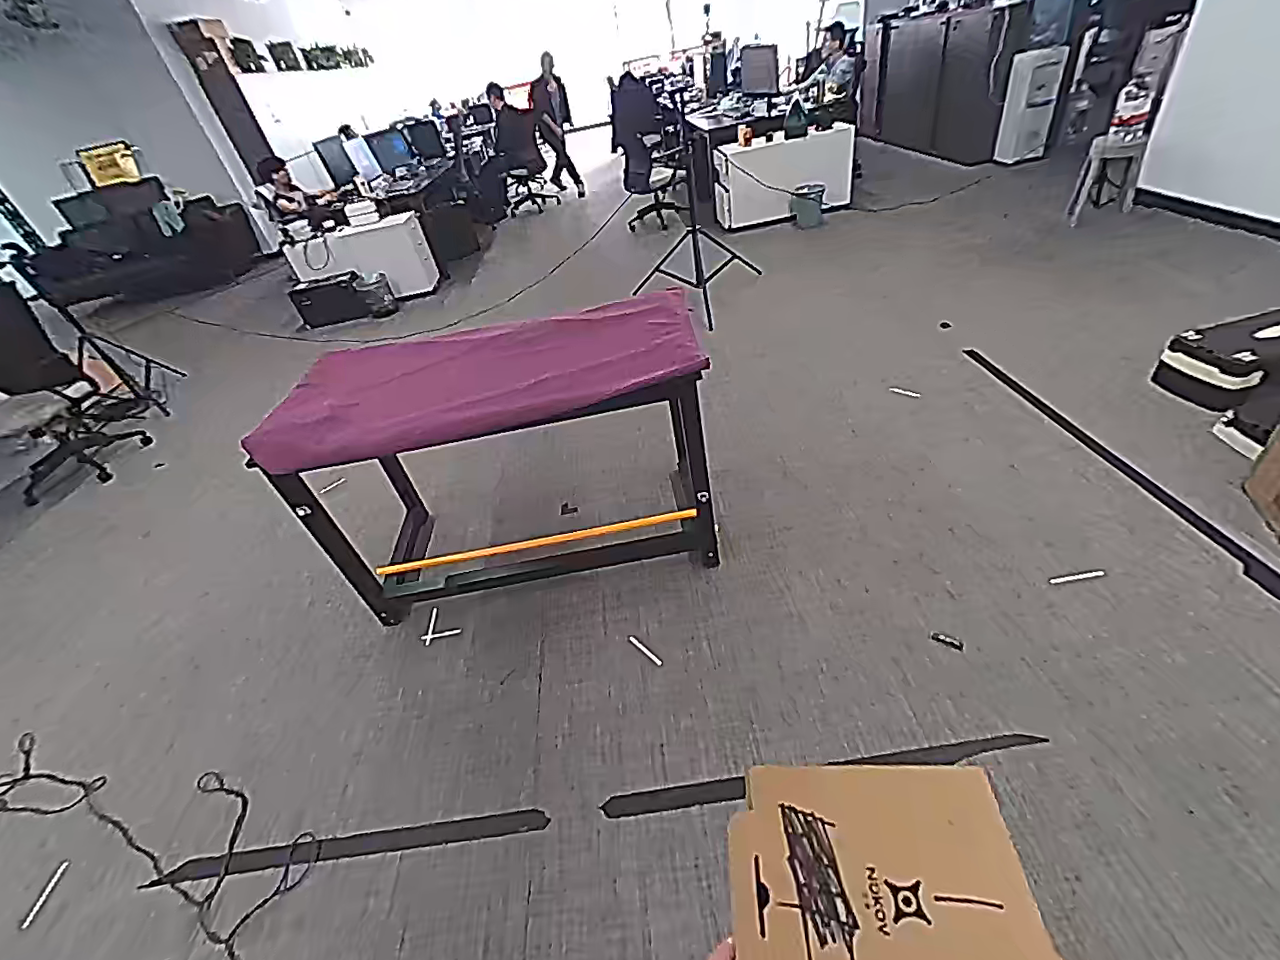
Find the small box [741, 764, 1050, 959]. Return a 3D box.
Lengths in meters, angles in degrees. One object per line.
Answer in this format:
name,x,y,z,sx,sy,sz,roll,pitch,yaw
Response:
small box,0.173,0.334,0.409,0.179,0.176,0.168,-4,42,7
